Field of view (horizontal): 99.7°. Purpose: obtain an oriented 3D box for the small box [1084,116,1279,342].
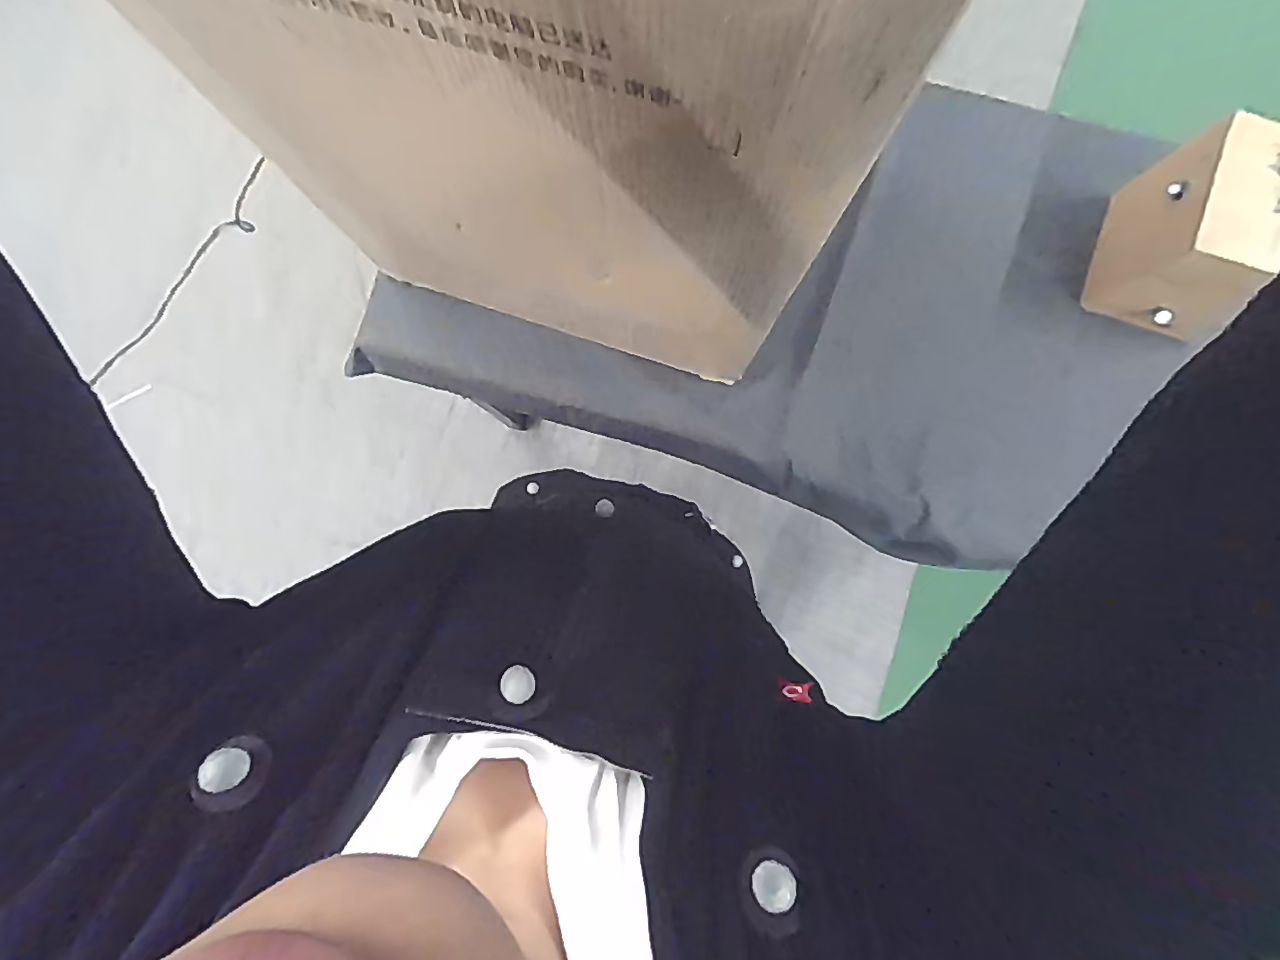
[{"bbox_3d":[0.723,-0.304,0.690,0.168,0.176,0.179,19,86,3],"label":"small box"}]
